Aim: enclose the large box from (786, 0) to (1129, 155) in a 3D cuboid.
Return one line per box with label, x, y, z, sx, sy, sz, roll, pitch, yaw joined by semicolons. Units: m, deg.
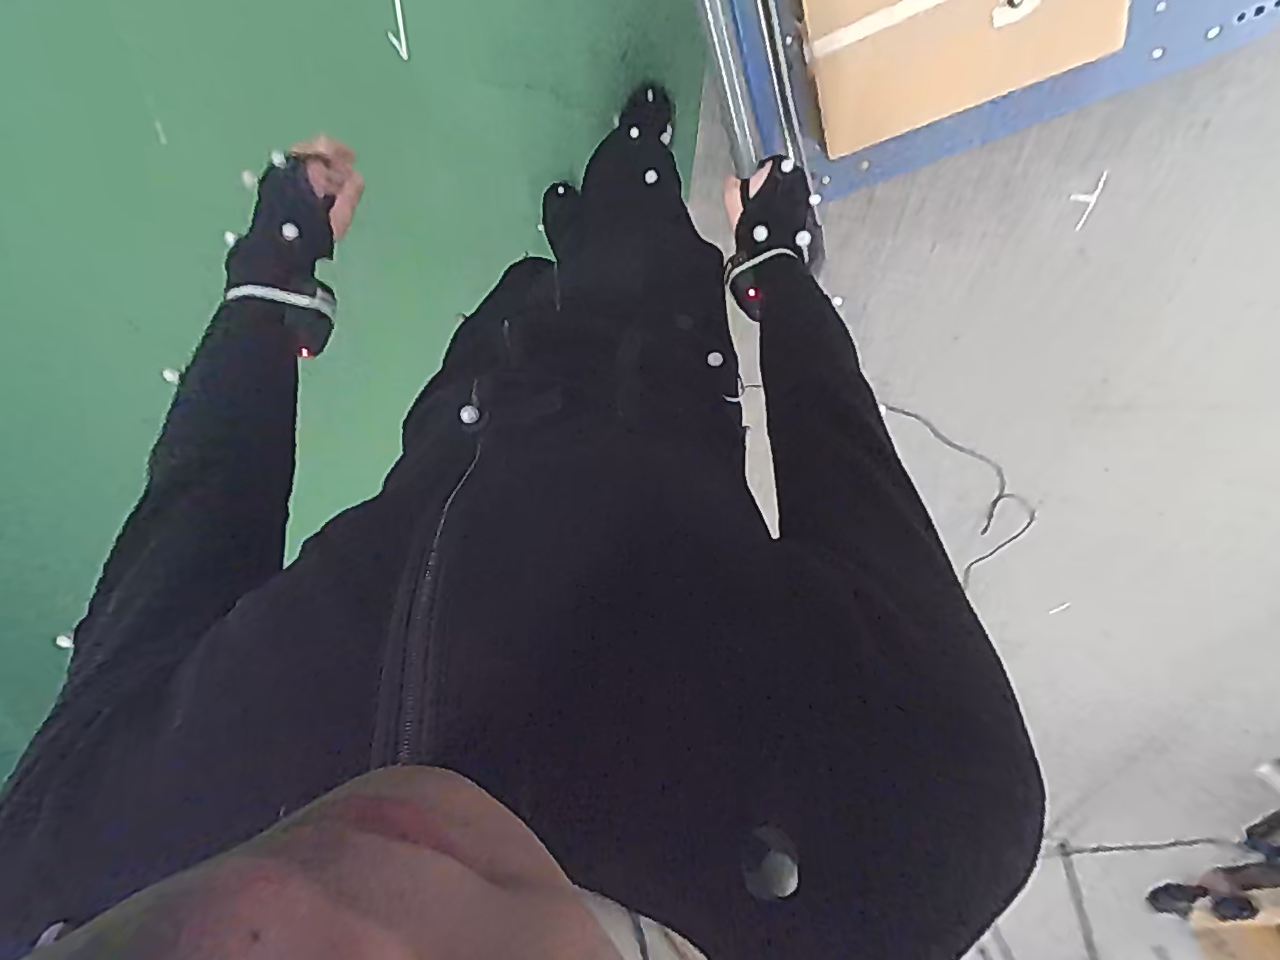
large box;0.461;-0.778;0.859;0.408;0.320;0.320;-13;124;19
